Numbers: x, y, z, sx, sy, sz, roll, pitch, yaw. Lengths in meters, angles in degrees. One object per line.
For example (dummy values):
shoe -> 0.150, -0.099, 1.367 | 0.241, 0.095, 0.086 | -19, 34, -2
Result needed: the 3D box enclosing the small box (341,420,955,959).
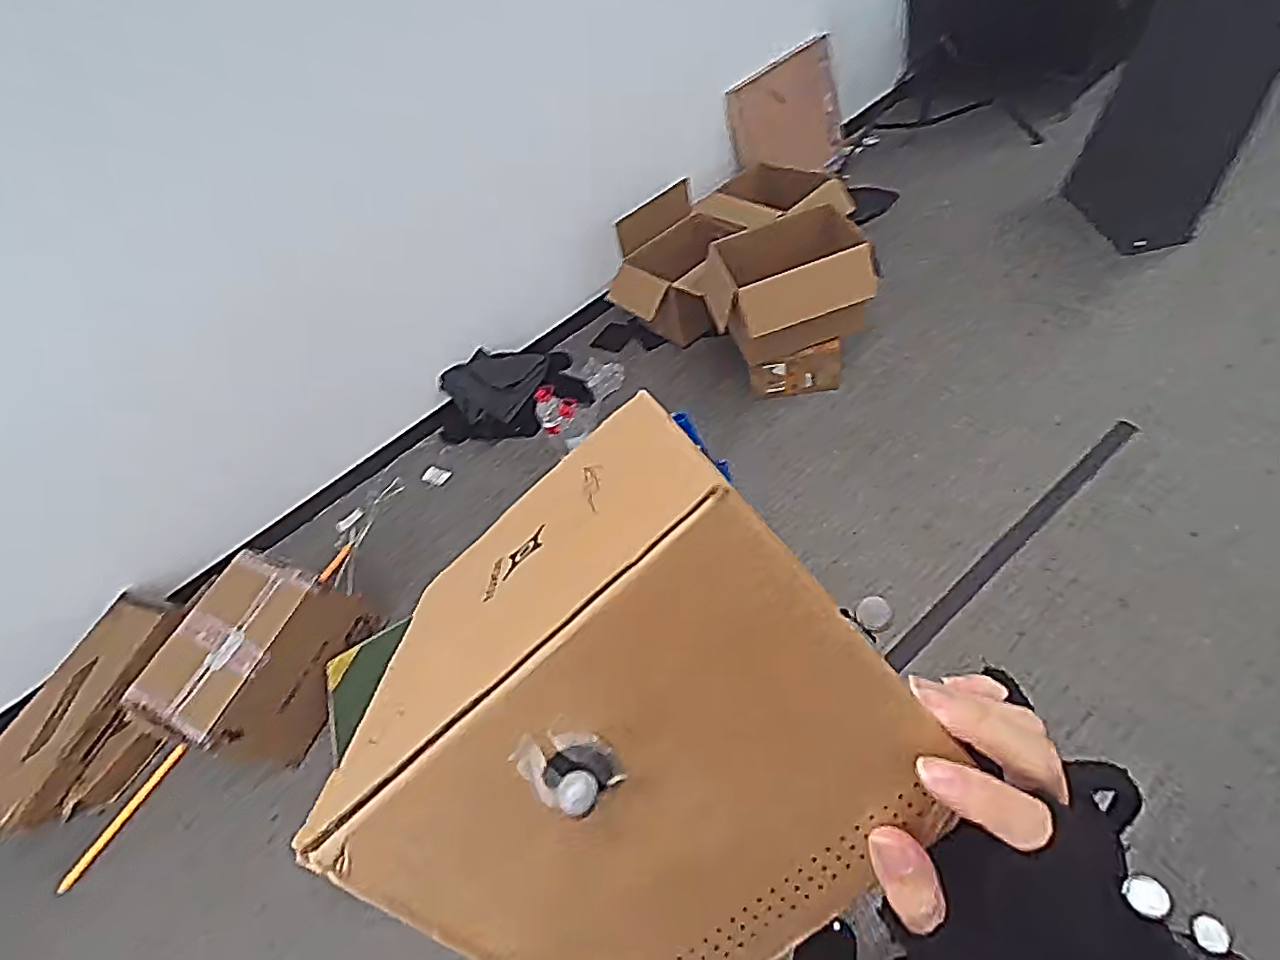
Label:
small box -> 0.006, 0.101, 0.271 | 0.179, 0.176, 0.168 | -41, 18, 7
